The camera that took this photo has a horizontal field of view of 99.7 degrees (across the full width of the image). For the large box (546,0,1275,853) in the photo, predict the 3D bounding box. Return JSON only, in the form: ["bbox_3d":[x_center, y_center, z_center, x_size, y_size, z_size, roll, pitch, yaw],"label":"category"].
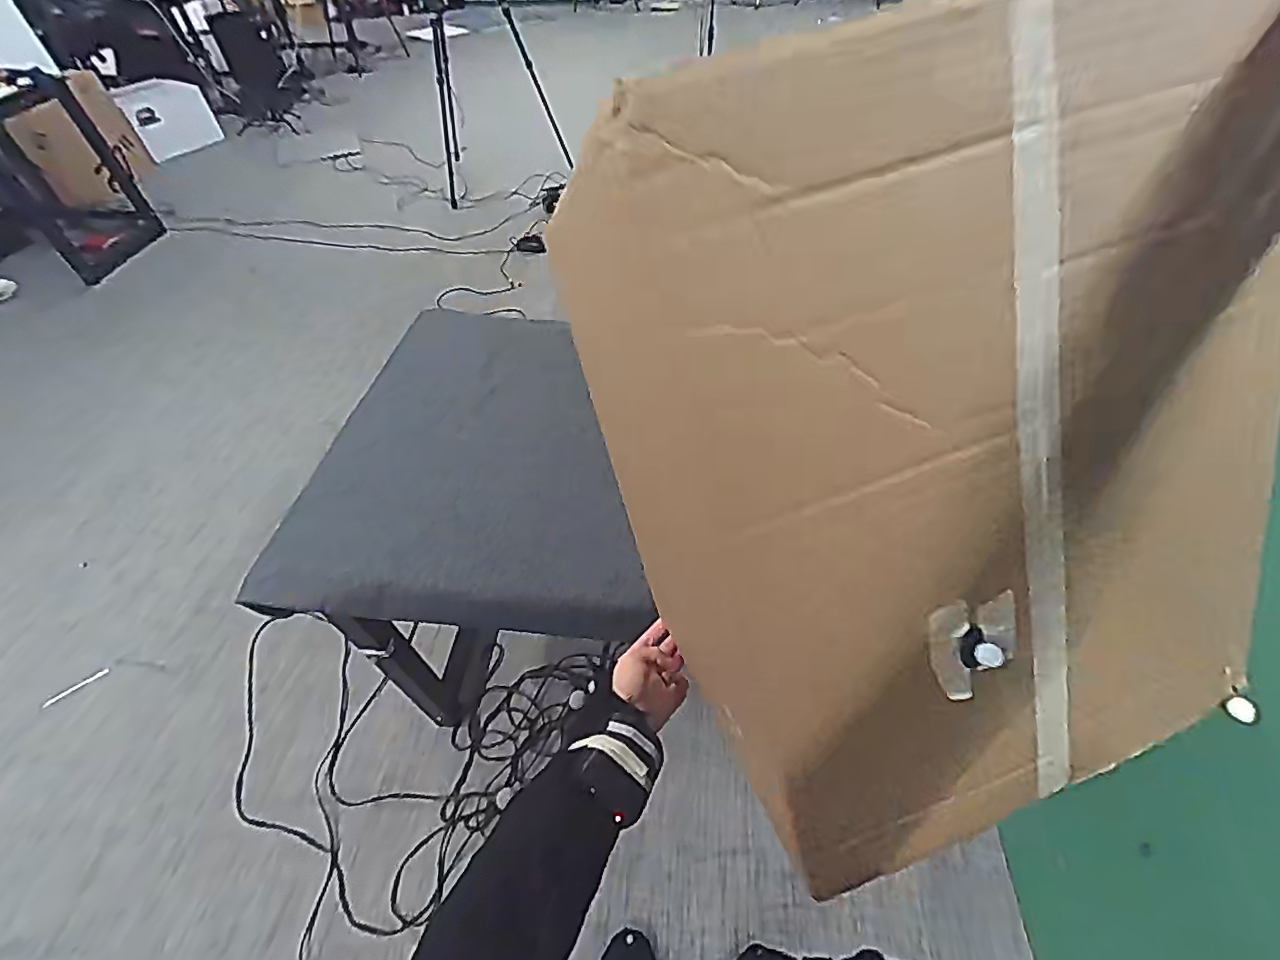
[{"bbox_3d":[0.153,-0.043,0.417,0.320,0.408,0.320,-21,22,-8],"label":"large box"}]
